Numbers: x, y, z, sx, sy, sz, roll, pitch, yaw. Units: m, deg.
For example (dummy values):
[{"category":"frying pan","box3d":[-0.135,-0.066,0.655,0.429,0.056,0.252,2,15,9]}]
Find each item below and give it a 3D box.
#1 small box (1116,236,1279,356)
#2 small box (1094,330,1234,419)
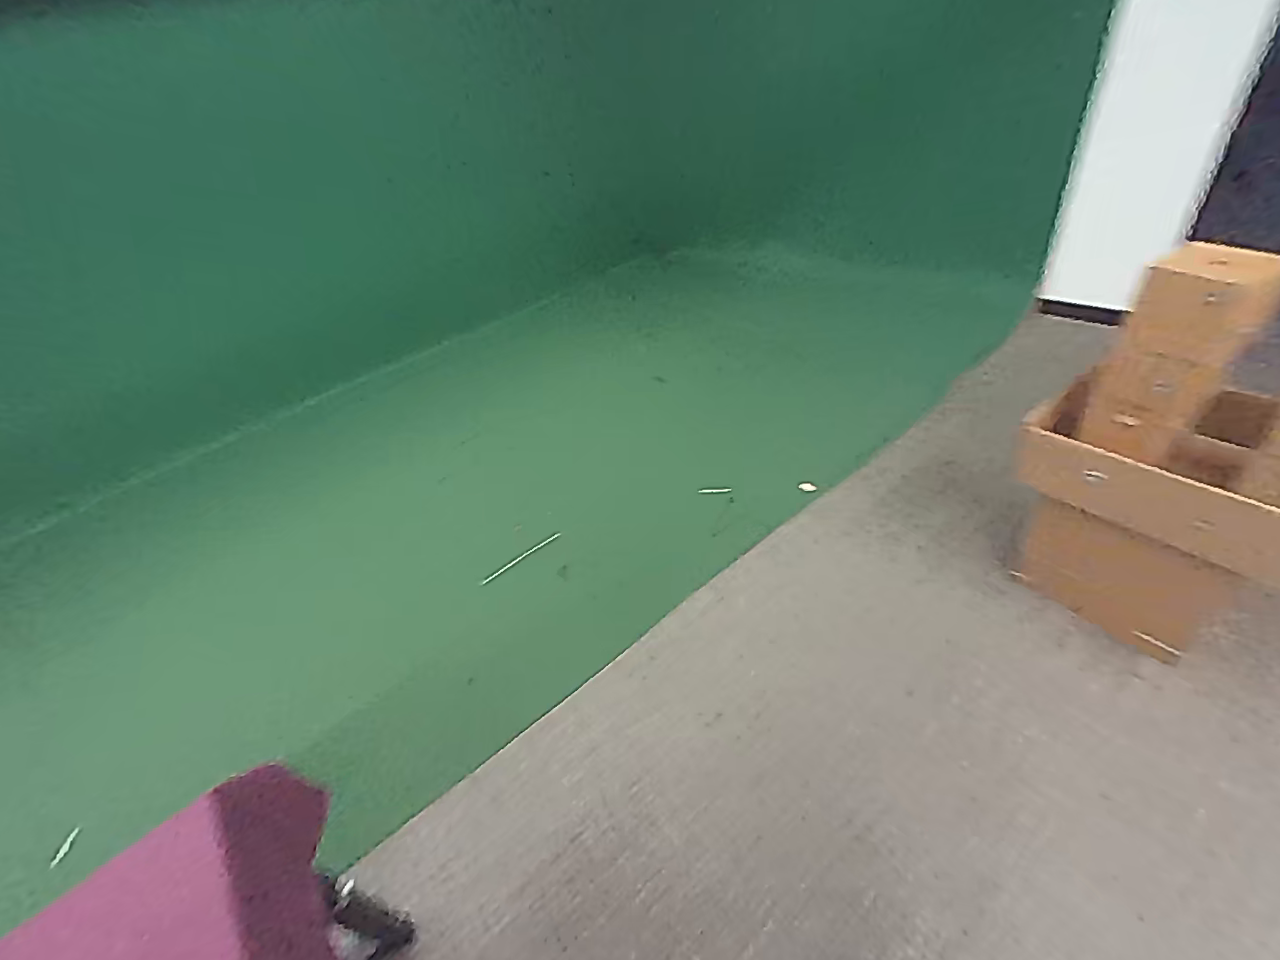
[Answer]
[{"category":"small box","box3d":[1.152,-0.381,1.119,0.168,0.176,0.179,-26,43,-15]},{"category":"small box","box3d":[1.183,-0.264,1.228,0.179,0.176,0.168,-28,42,-17]}]
